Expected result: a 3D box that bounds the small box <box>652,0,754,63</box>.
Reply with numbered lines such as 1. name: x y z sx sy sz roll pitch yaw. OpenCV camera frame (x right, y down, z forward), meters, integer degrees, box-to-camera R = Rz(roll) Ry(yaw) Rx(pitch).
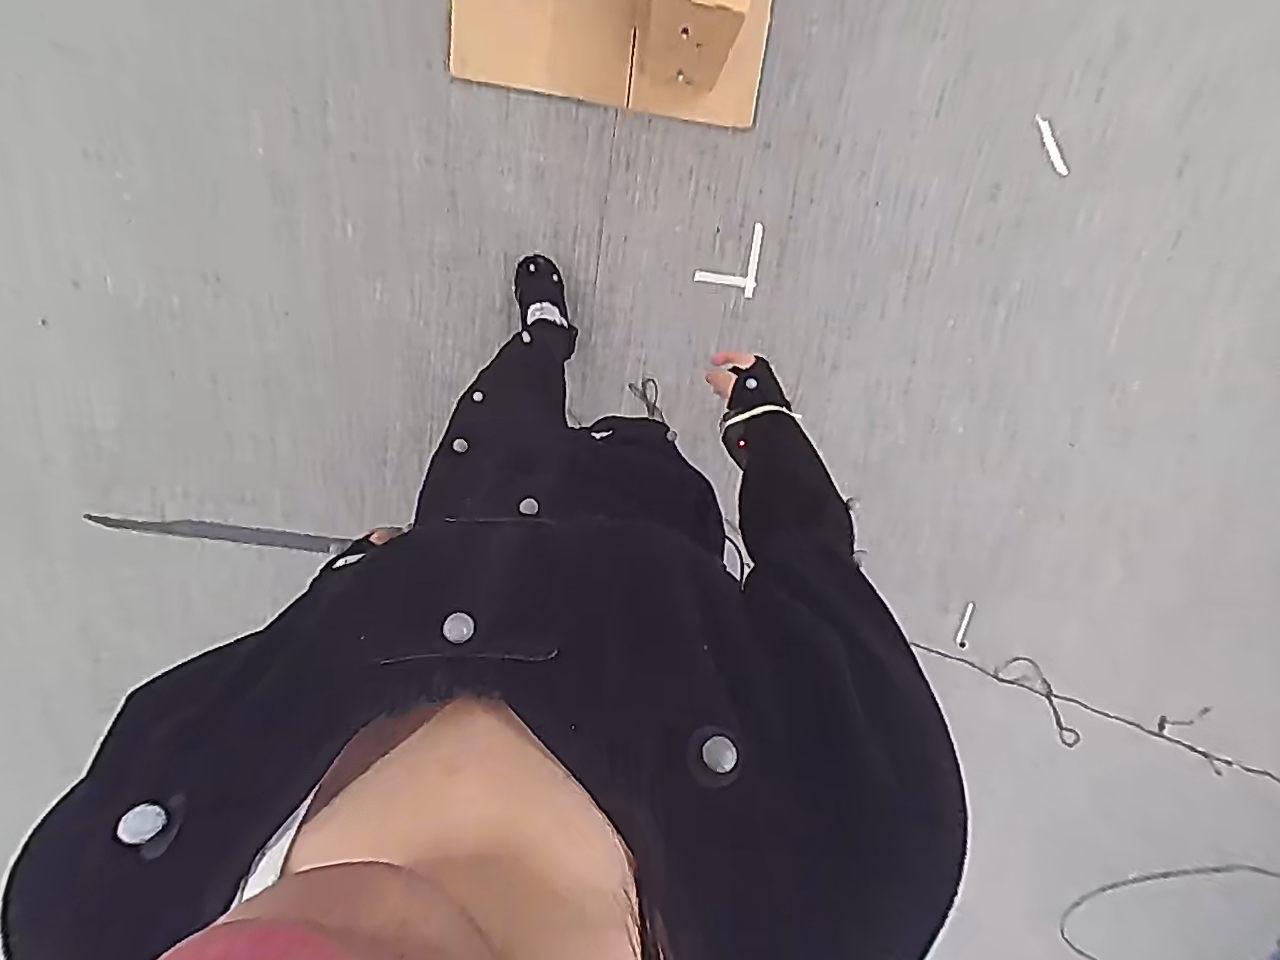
1. small box: 0.121 -0.914 0.983 0.168 0.176 0.179 10 106 -7
